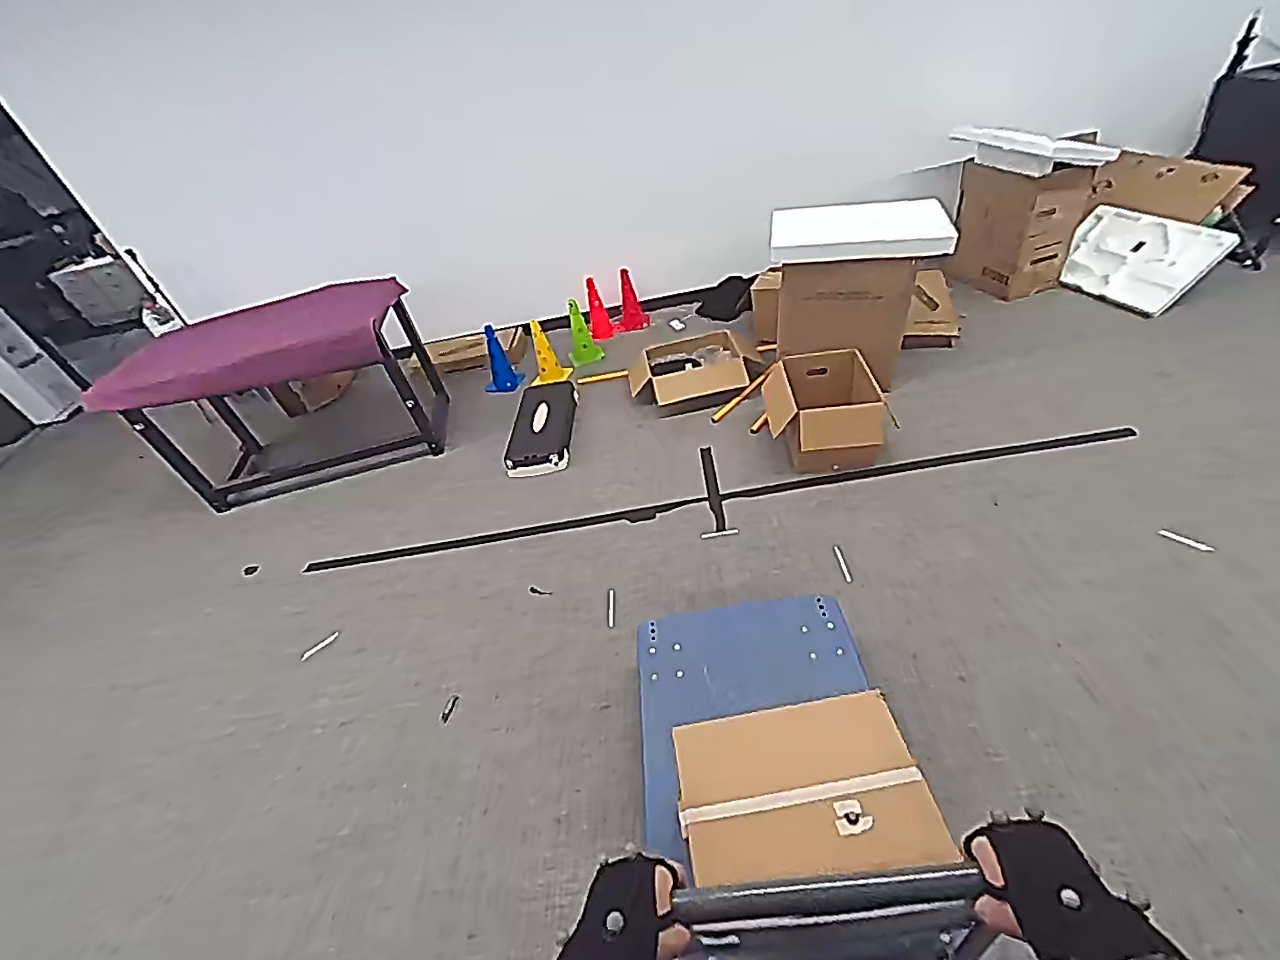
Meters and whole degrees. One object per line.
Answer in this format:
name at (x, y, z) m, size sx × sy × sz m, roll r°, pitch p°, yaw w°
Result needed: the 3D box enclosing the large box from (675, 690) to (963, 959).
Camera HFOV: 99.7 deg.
large box at (0.300, 0.653, 1.023) m, size 0.408 × 0.320 × 0.320 m, roll -11°, pitch 41°, yaw 1°
